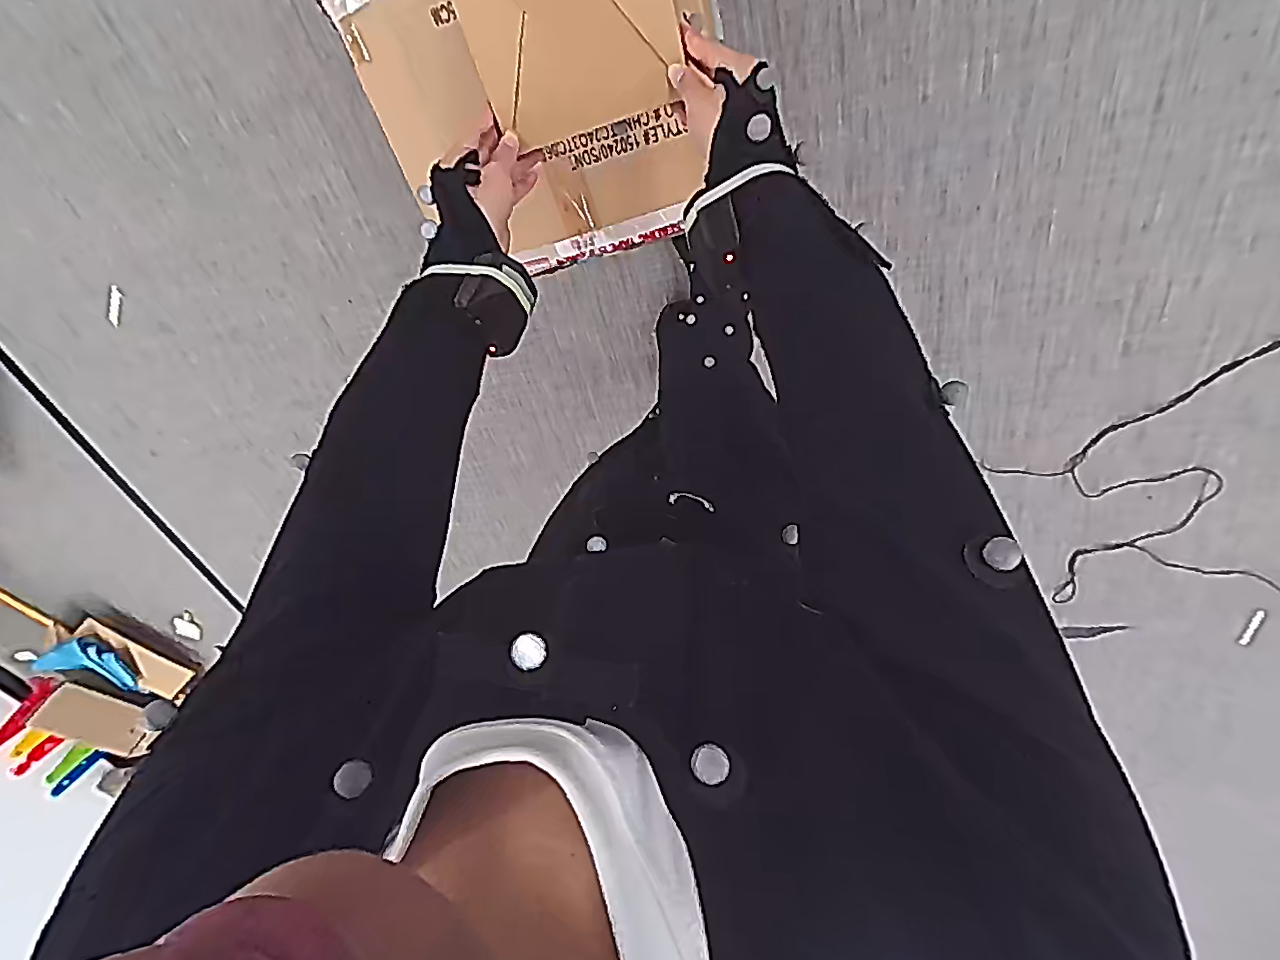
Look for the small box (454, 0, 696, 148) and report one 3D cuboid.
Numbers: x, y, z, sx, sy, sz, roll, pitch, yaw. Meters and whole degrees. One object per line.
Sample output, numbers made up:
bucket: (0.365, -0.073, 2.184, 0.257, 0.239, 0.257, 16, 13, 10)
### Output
small box: (-0.053, -0.415, 0.468, 0.168, 0.176, 0.179, -10, 128, 15)
